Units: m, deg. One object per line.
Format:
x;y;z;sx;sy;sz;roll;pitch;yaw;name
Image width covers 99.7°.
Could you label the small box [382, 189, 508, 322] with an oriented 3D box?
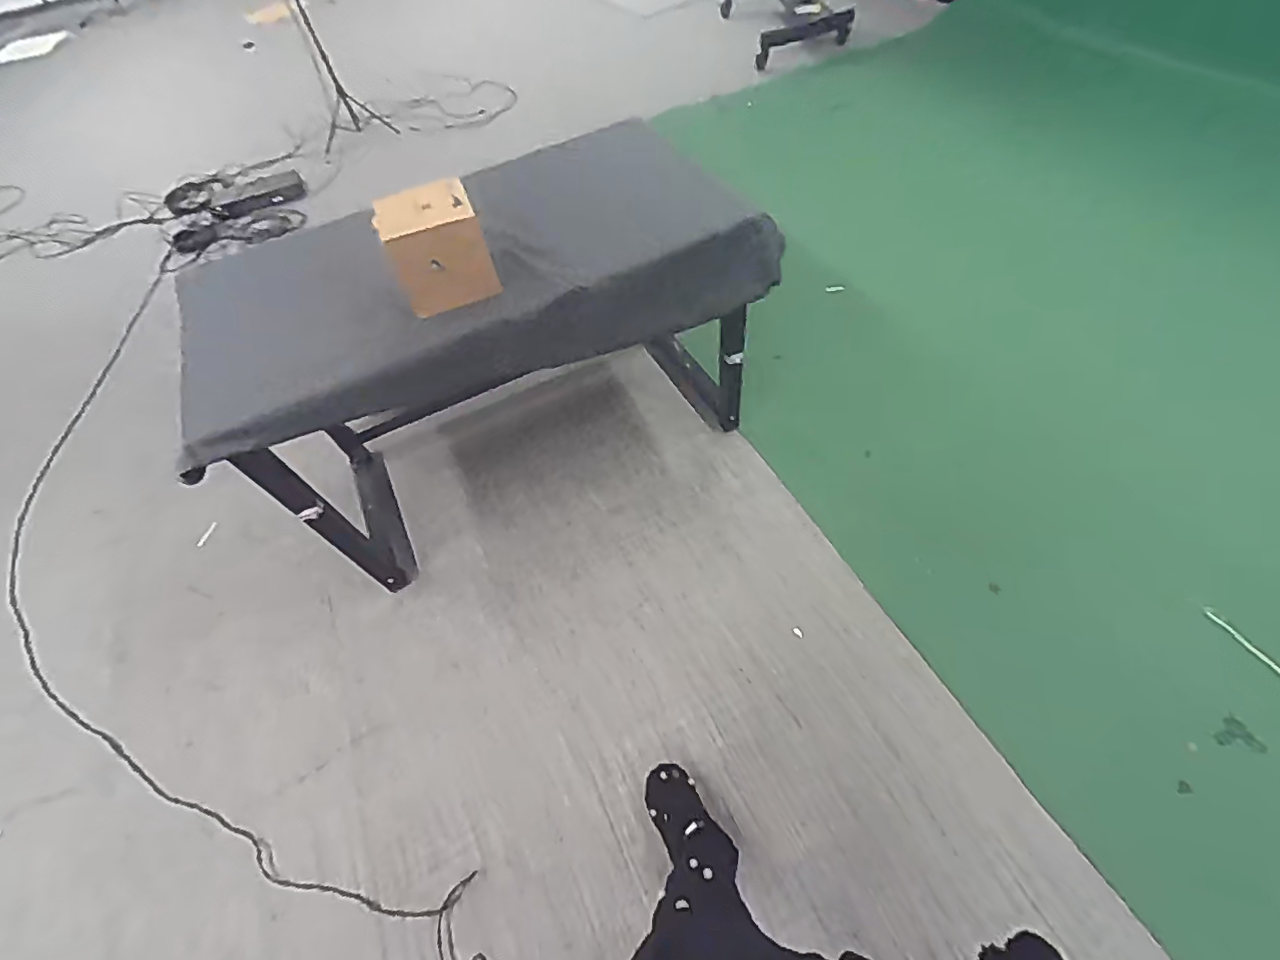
-0.388;-0.447;1.090;0.179;0.176;0.168;-23;54;-9;small box
